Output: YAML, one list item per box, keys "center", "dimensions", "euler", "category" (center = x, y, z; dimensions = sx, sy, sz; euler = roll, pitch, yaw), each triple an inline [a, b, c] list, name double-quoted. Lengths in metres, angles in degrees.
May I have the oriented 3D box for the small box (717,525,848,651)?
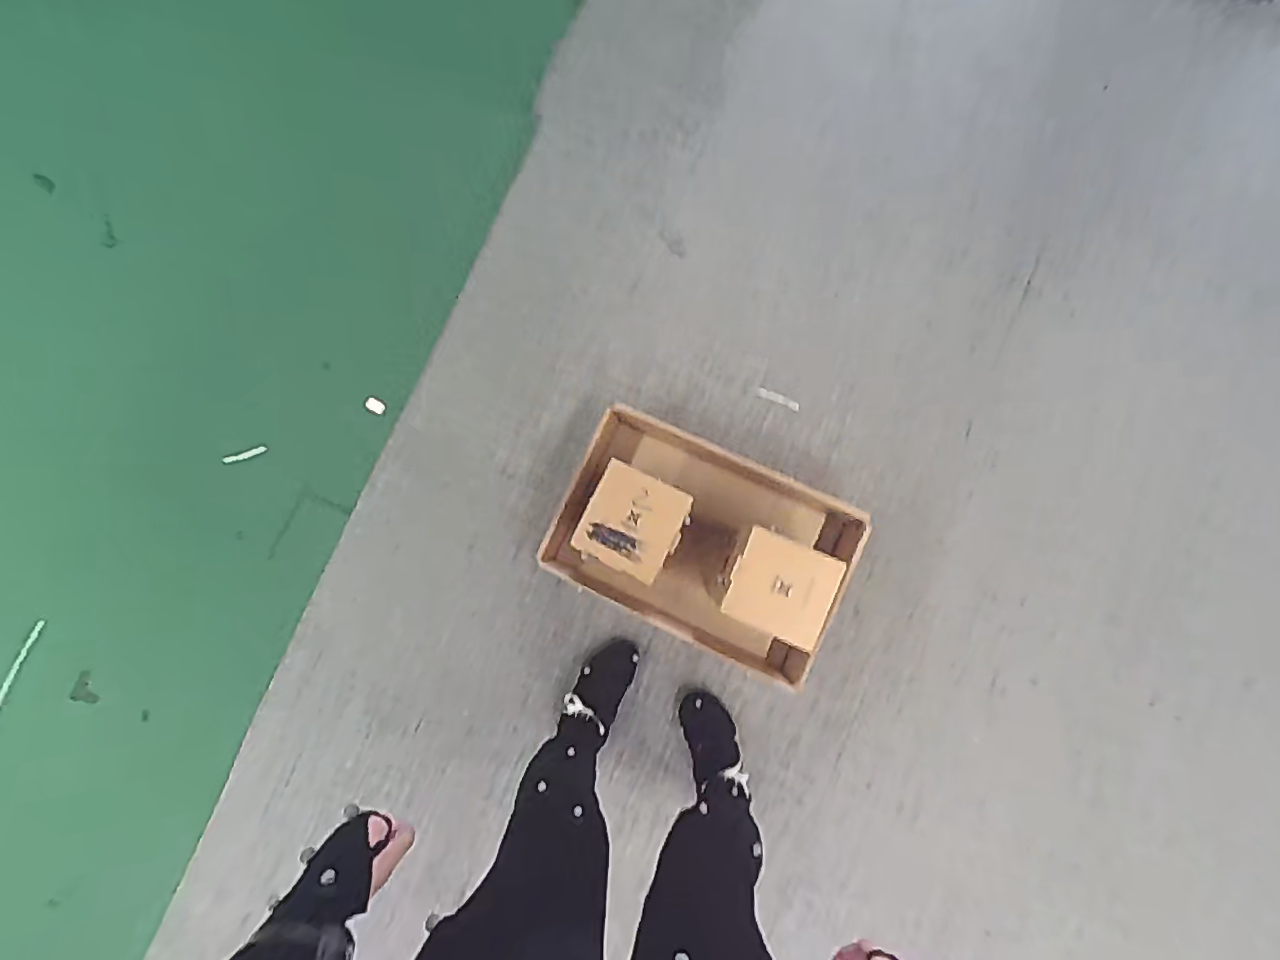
- center: [0.255, 0.194, 1.013]
  dimensions: [0.179, 0.176, 0.168]
  euler: [23, 87, 6]
  category: "small box"
